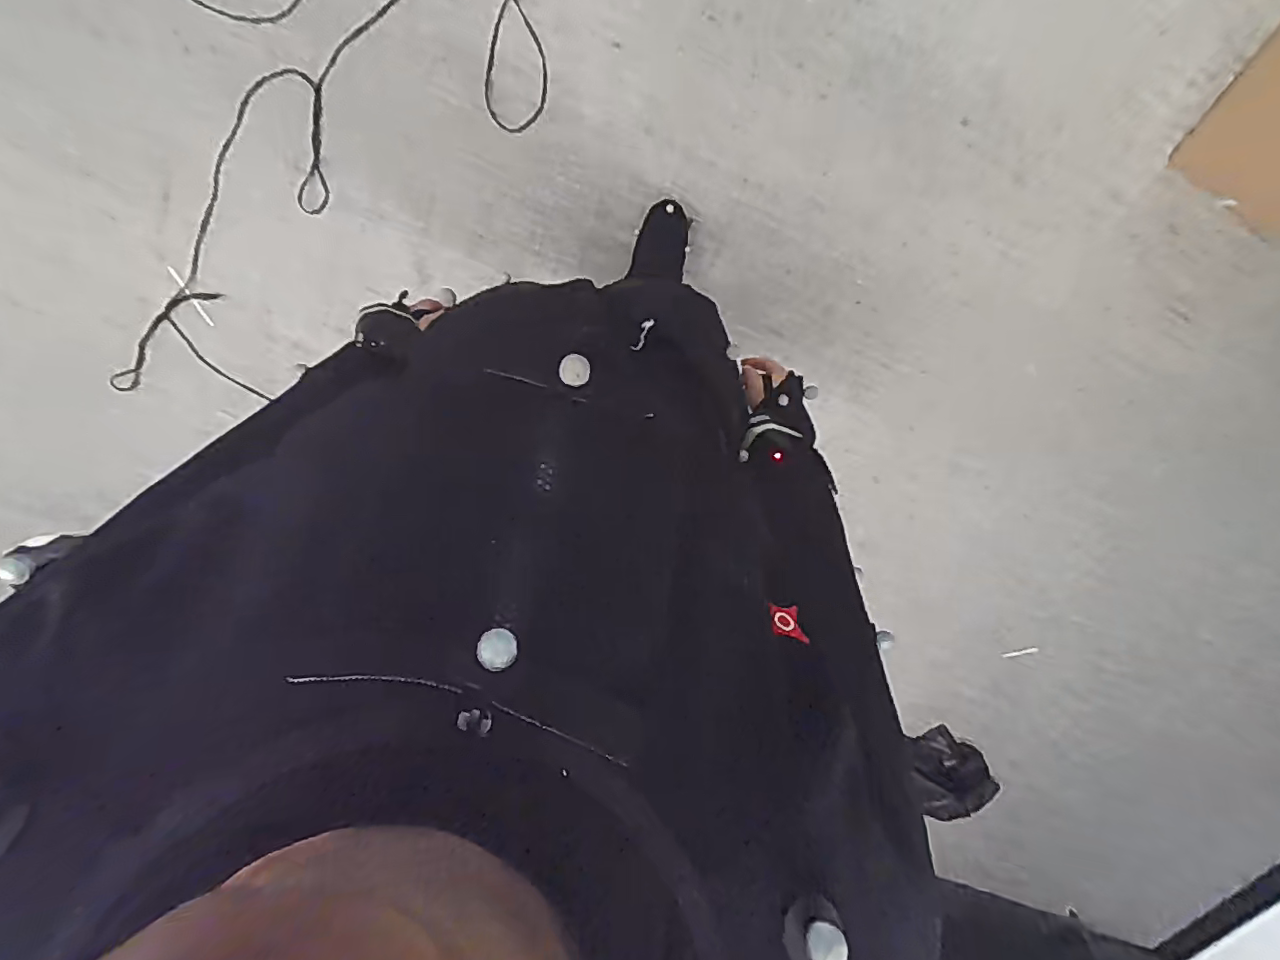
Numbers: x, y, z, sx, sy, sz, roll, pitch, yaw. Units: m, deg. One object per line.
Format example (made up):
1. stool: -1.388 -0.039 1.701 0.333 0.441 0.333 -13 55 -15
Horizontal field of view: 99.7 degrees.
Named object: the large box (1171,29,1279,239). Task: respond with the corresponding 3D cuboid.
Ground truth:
1. large box: 1.292 -0.670 0.916 0.320 0.320 0.408 27 114 -9
